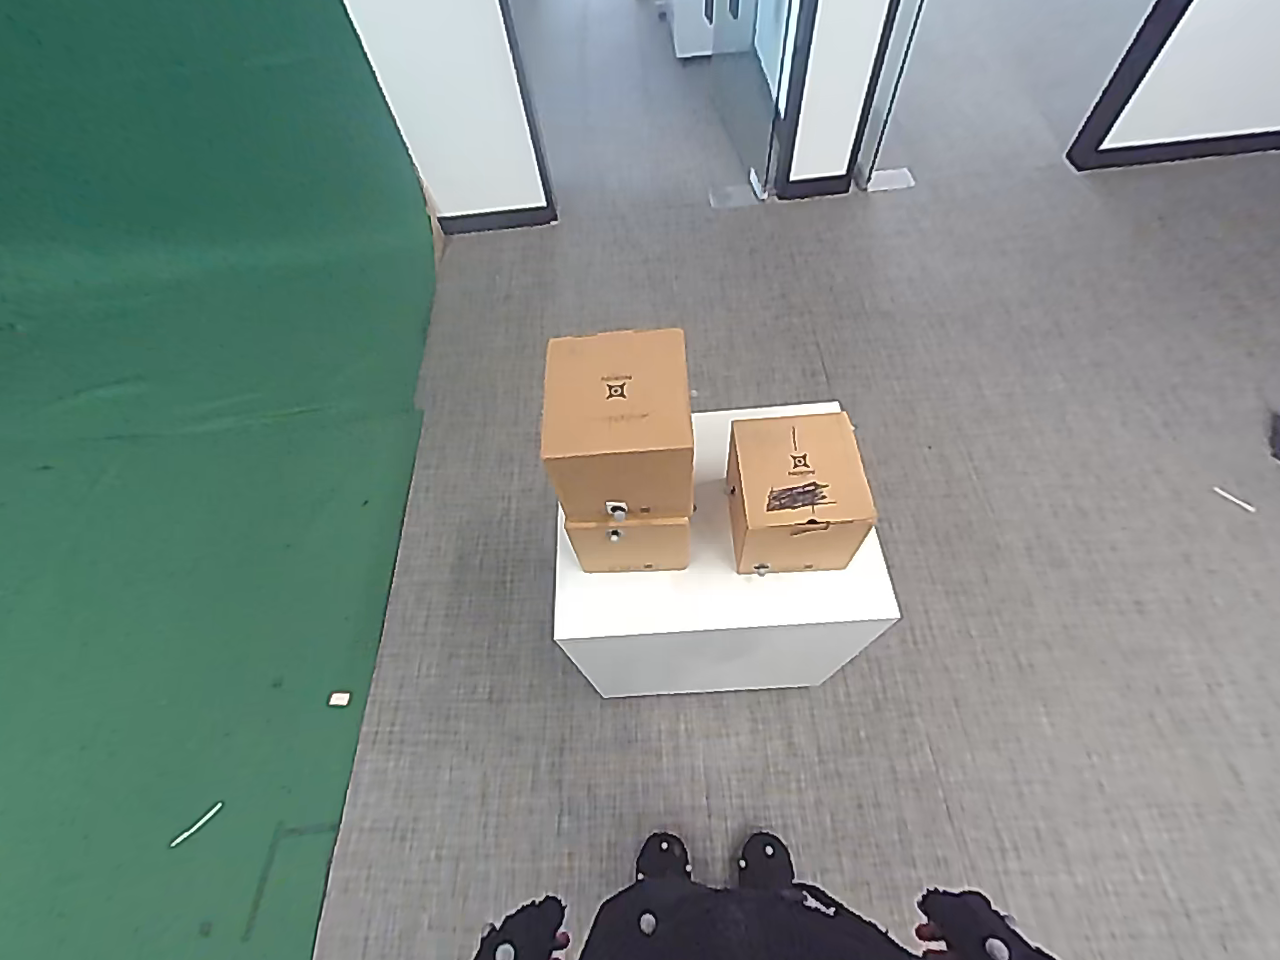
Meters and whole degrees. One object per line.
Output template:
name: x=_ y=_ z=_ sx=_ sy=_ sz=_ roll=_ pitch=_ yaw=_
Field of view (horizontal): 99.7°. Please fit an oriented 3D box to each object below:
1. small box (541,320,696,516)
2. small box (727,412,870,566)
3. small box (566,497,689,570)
small box: x=-0.021 y=-0.072 z=0.677 sx=0.168 sy=0.176 sz=0.179 roll=-4 pitch=61 yaw=3
small box: x=0.221 y=0.022 z=0.806 sx=0.168 sy=0.176 sz=0.179 roll=-3 pitch=58 yaw=4
small box: x=-0.011 y=0.025 z=0.826 sx=0.168 sy=0.176 sz=0.179 roll=-3 pitch=58 yaw=5
